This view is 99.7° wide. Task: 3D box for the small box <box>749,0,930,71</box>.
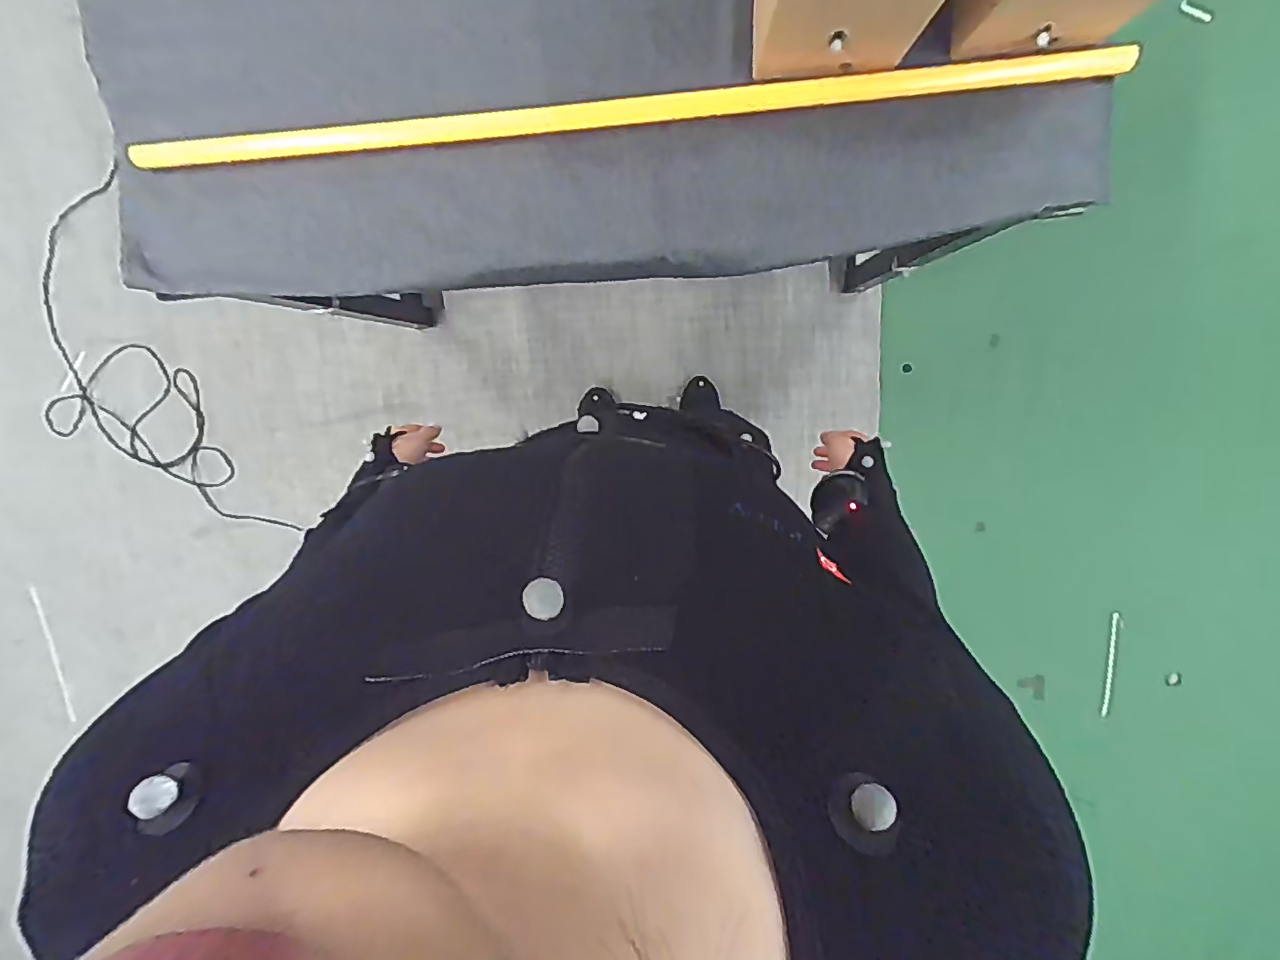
[{"bbox_3d":[0.206,-0.547,0.546,0.168,0.176,0.179,-1,101,3],"label":"small box"}]
